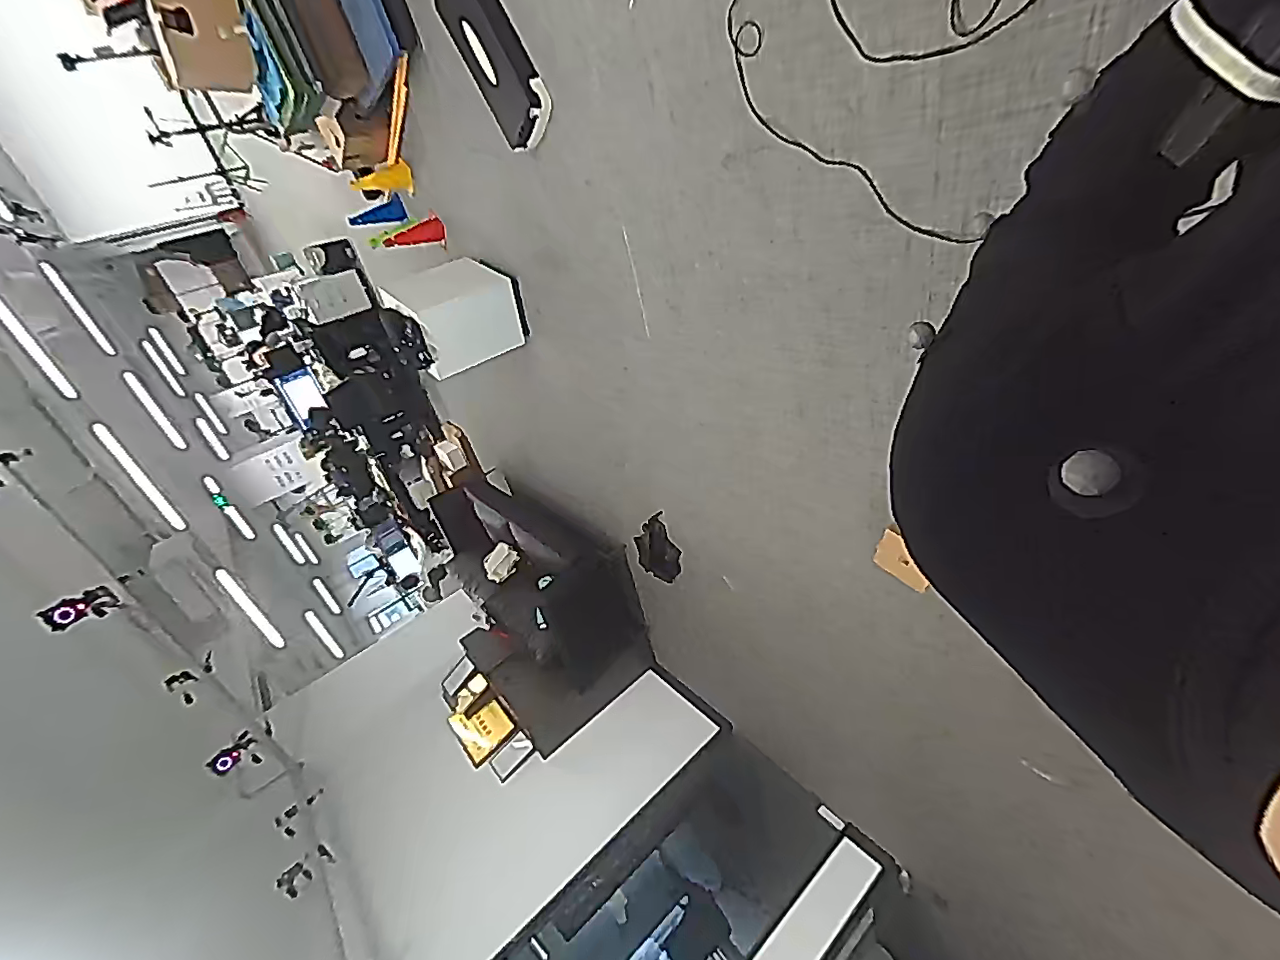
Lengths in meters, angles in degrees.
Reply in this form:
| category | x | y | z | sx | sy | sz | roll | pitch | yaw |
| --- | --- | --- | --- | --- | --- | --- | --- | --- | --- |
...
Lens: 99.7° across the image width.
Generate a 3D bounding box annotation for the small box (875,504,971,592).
| category | x | y | z | sx | sy | sz | roll | pitch | yaw |
| --- | --- | --- | --- | --- | --- | --- | --- | --- | --- |
| small box | 0.861 | 0.197 | 1.648 | 0.179 | 0.176 | 0.168 | 38 | 148 | 33 |
